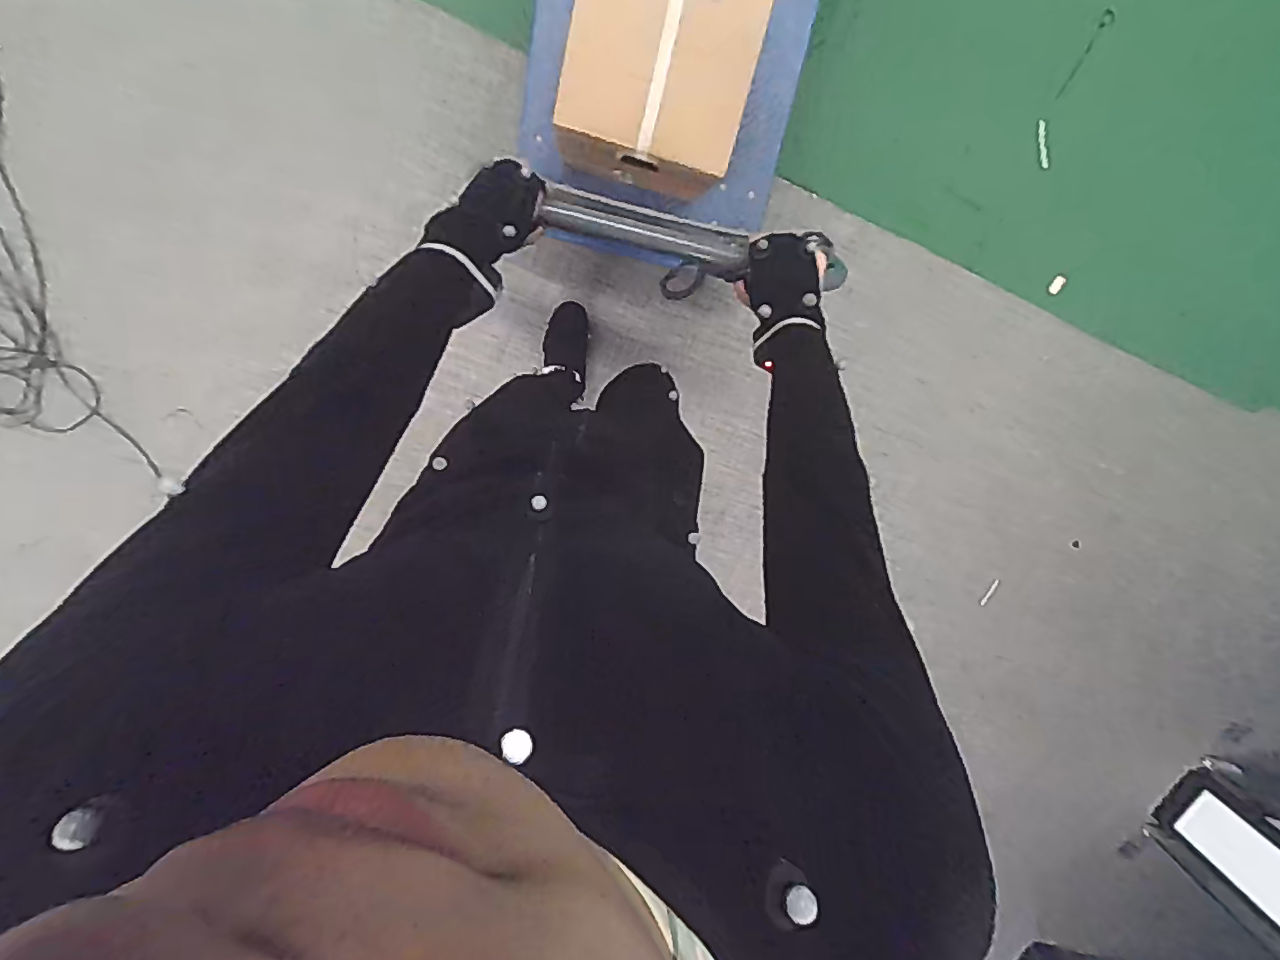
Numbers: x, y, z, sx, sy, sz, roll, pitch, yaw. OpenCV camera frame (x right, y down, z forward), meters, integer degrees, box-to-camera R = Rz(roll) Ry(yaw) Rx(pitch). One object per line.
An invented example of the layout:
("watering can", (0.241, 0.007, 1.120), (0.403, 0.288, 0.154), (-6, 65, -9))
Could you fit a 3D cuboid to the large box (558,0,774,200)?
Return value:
("large box", (0.044, -0.804, 1.023), (0.320, 0.320, 0.408), (13, 108, -9))
